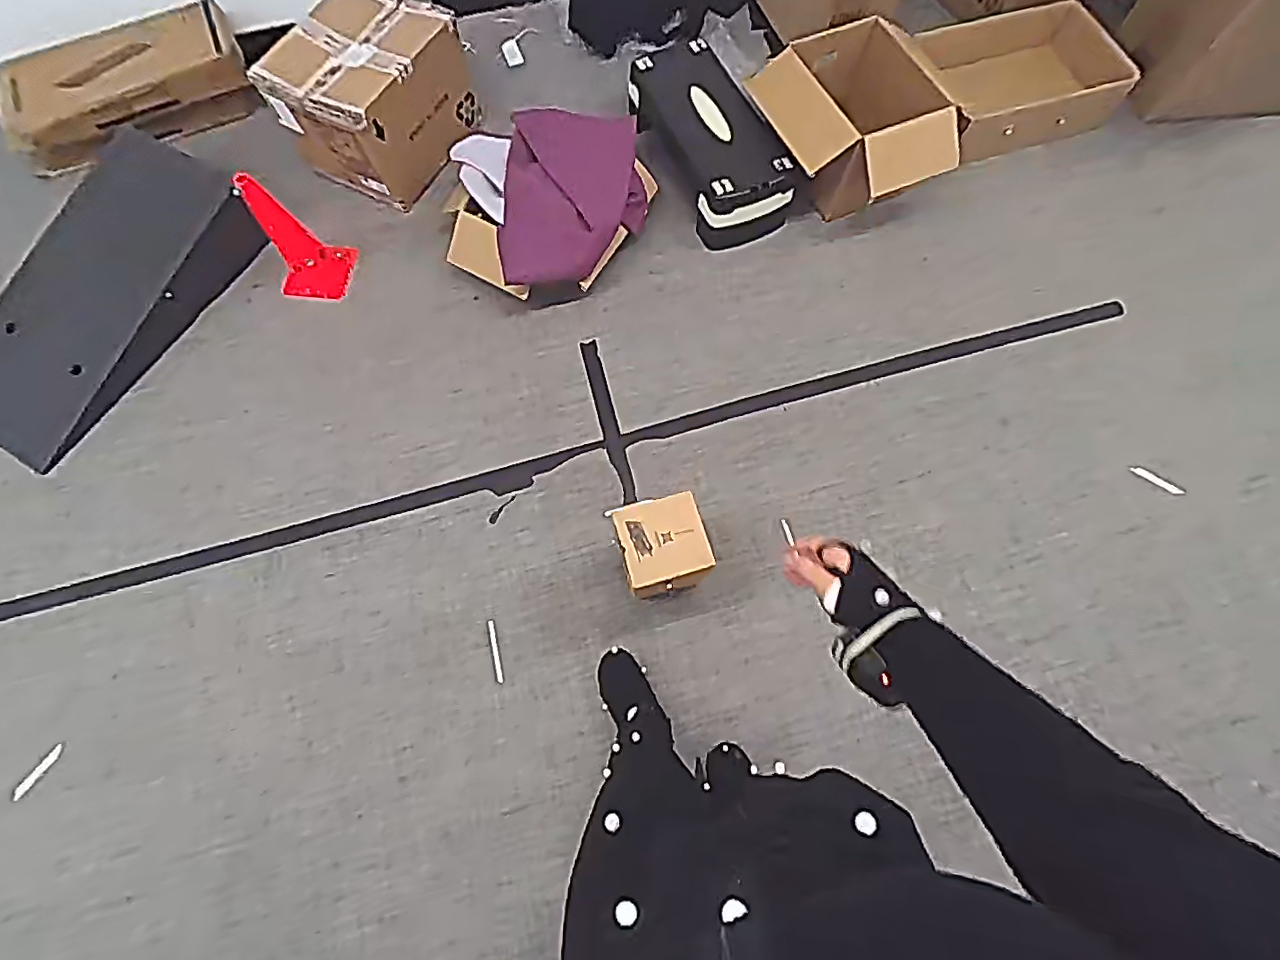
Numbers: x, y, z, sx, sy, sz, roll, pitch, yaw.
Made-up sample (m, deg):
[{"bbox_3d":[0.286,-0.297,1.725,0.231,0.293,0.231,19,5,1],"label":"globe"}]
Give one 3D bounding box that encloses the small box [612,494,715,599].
[{"bbox_3d":[0.047,0.150,1.166,0.179,0.176,0.168,-15,72,-5],"label":"small box"}]
